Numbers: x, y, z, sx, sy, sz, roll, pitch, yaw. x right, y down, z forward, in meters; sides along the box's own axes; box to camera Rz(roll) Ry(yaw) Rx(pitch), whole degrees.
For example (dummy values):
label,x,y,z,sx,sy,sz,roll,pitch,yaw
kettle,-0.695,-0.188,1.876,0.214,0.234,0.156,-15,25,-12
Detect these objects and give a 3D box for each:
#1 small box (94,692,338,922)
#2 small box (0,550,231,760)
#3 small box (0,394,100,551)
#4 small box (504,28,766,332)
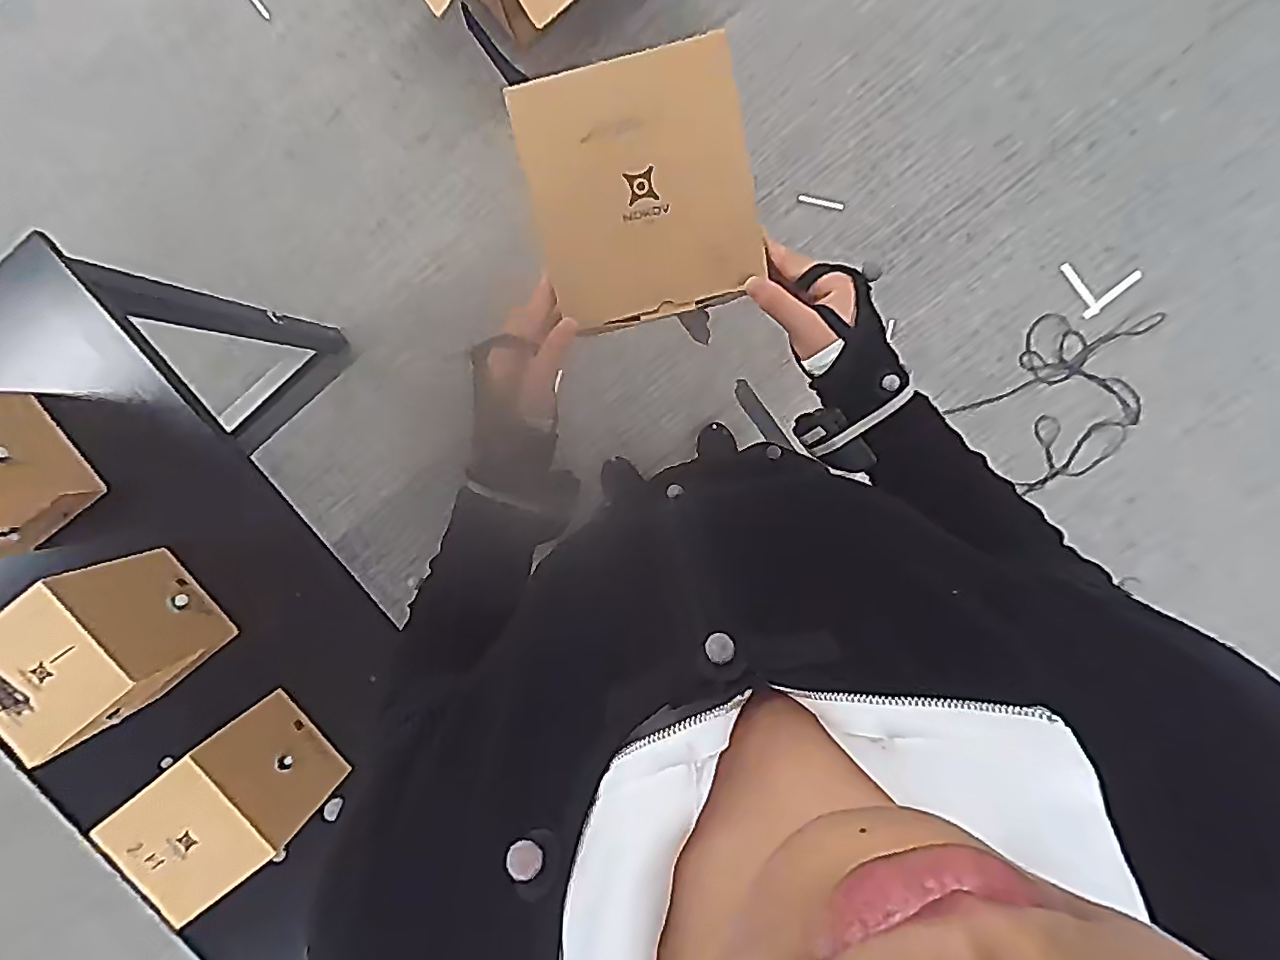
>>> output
label,x,y,z,sx,sy,sz,roll,pitch,yaw
small box,-0.558,0.433,0.746,0.179,0.176,0.168,-38,94,6
small box,-0.714,0.220,0.725,0.179,0.176,0.168,-38,95,5
small box,-0.885,-0.002,0.702,0.168,0.176,0.179,-35,96,5
small box,0.000,-0.236,0.477,0.168,0.176,0.179,-14,104,2
